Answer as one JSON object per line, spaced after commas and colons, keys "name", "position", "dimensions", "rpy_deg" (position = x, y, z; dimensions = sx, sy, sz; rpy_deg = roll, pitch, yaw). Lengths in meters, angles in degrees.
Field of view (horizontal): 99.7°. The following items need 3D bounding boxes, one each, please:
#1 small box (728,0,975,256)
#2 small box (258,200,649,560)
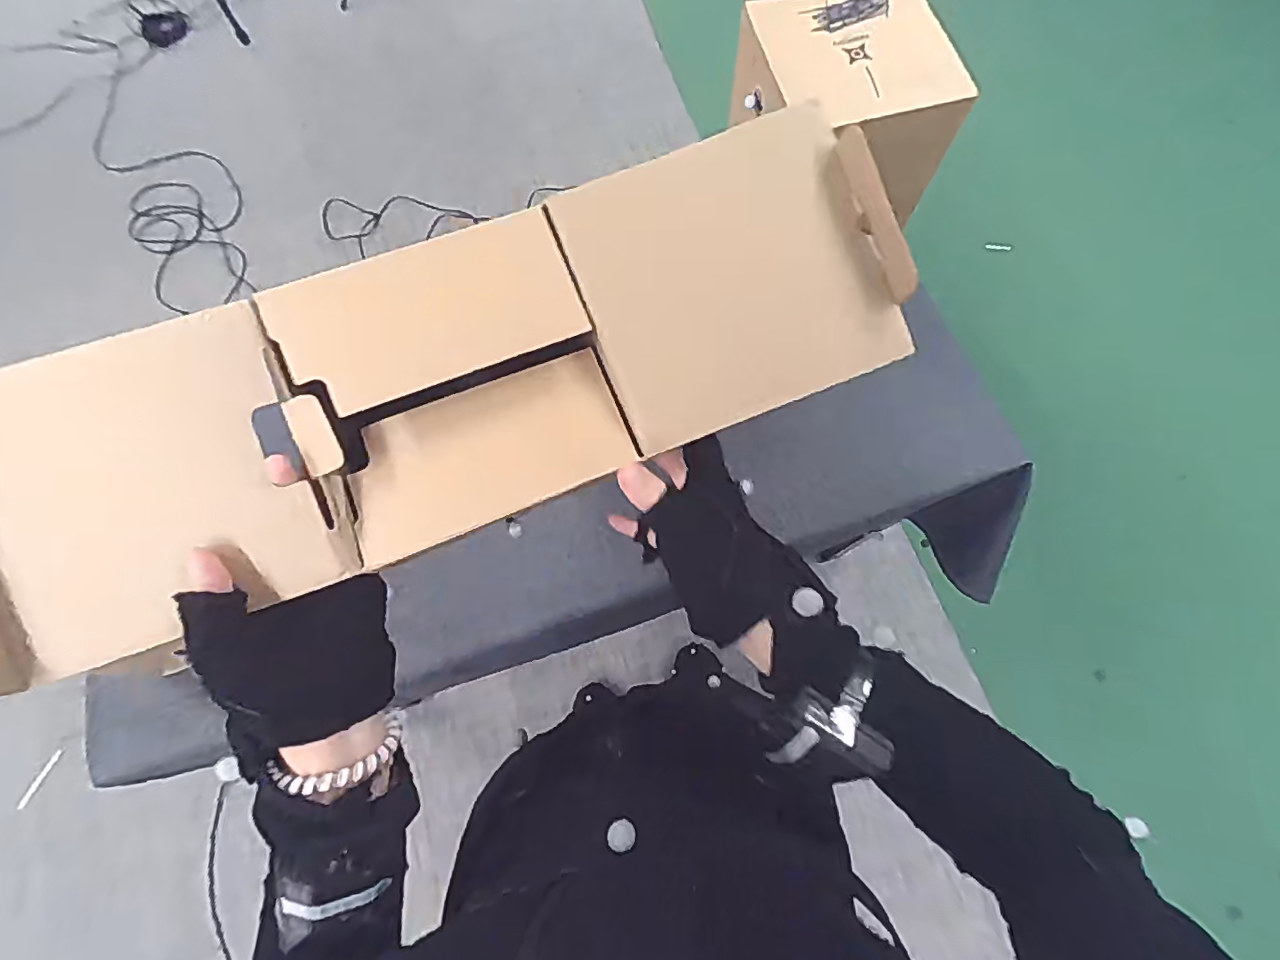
{"name": "small box", "position": [0.198, -0.374, 0.570], "dimensions": [0.168, 0.176, 0.179], "rpy_deg": [-13, 73, -1]}
{"name": "small box", "position": [-0.112, -0.056, 0.384], "dimensions": [0.179, 0.176, 0.168], "rpy_deg": [-21, 92, -9]}
